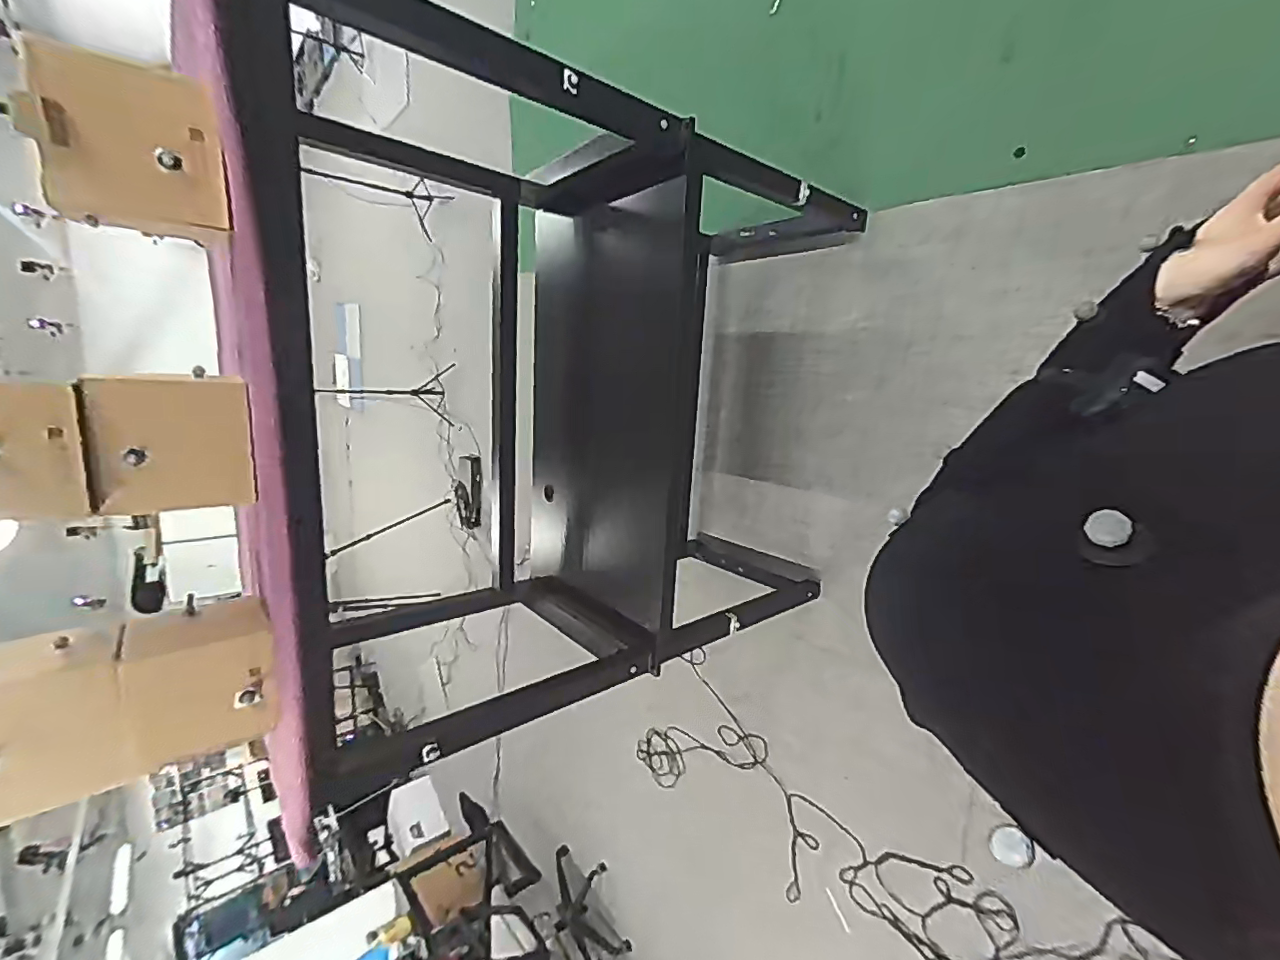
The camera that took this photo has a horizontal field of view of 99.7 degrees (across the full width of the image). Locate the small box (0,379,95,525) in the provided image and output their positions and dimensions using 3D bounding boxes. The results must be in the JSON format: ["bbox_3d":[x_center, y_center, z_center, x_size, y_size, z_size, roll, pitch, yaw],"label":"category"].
[{"bbox_3d":[-0.777,-0.038,0.657,0.179,0.176,0.168,10,102,50],"label":"small box"}]

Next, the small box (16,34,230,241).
[{"bbox_3d":[-0.635,-0.411,0.690,0.179,0.176,0.168,21,112,49],"label":"small box"}]

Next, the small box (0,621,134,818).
[{"bbox_3d":[-0.776,0.309,0.706,0.168,0.176,0.179,9,103,49],"label":"small box"}]

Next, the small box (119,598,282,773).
[{"bbox_3d":[-0.649,0.288,0.809,0.179,0.176,0.168,10,104,48],"label":"small box"}]

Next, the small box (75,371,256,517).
[{"bbox_3d":[-0.656,-0.060,0.767,0.168,0.176,0.179,17,107,49],"label":"small box"}]
